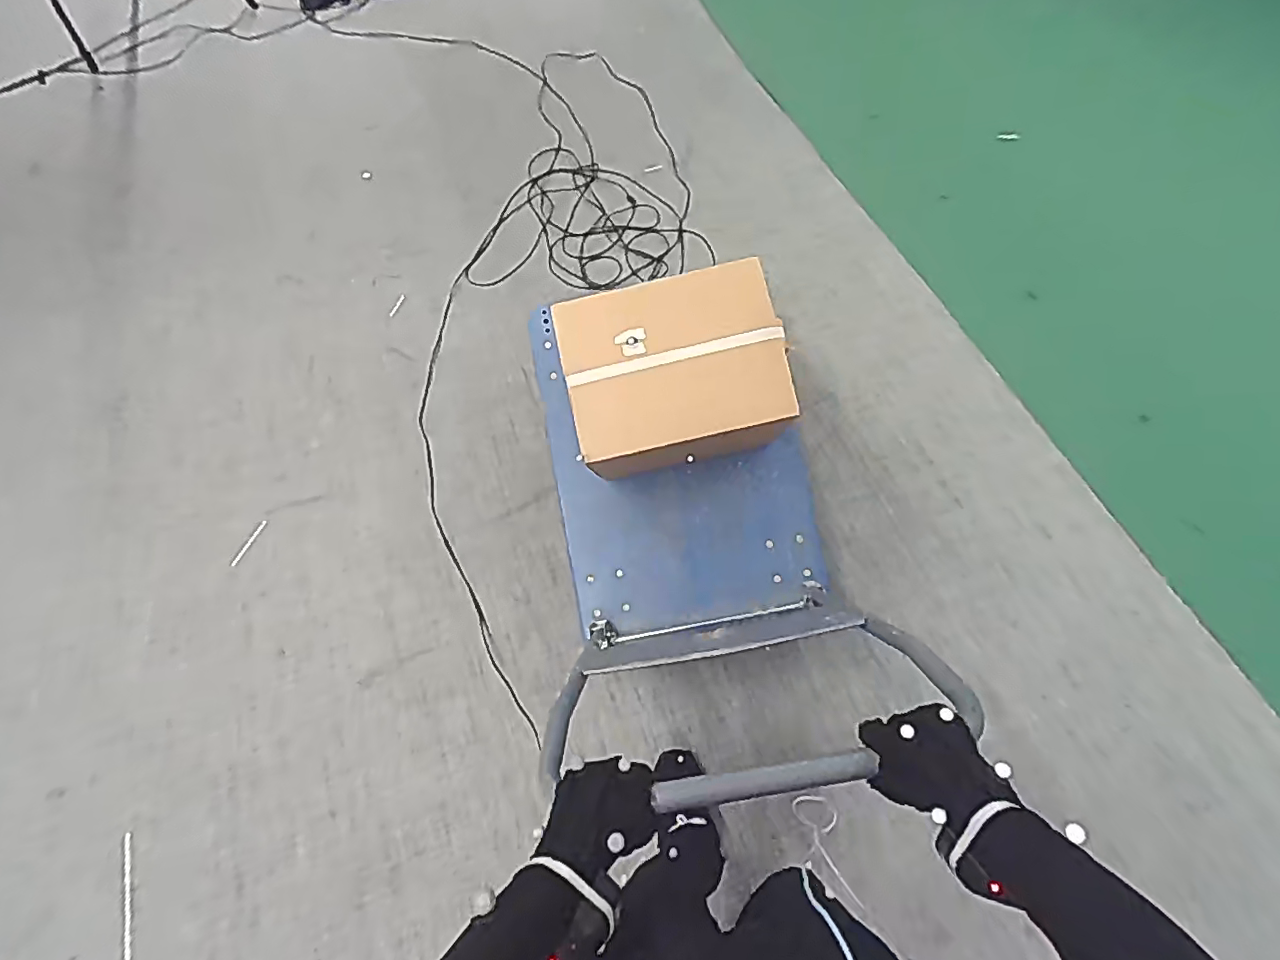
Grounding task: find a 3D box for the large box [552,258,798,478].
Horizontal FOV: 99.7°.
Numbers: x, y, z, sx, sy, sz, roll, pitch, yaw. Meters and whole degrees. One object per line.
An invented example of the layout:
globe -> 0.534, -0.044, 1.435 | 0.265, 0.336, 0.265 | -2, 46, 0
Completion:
large box -> 0.071, -0.206, 1.143 | 0.408, 0.320, 0.320 | -14, 83, 3
